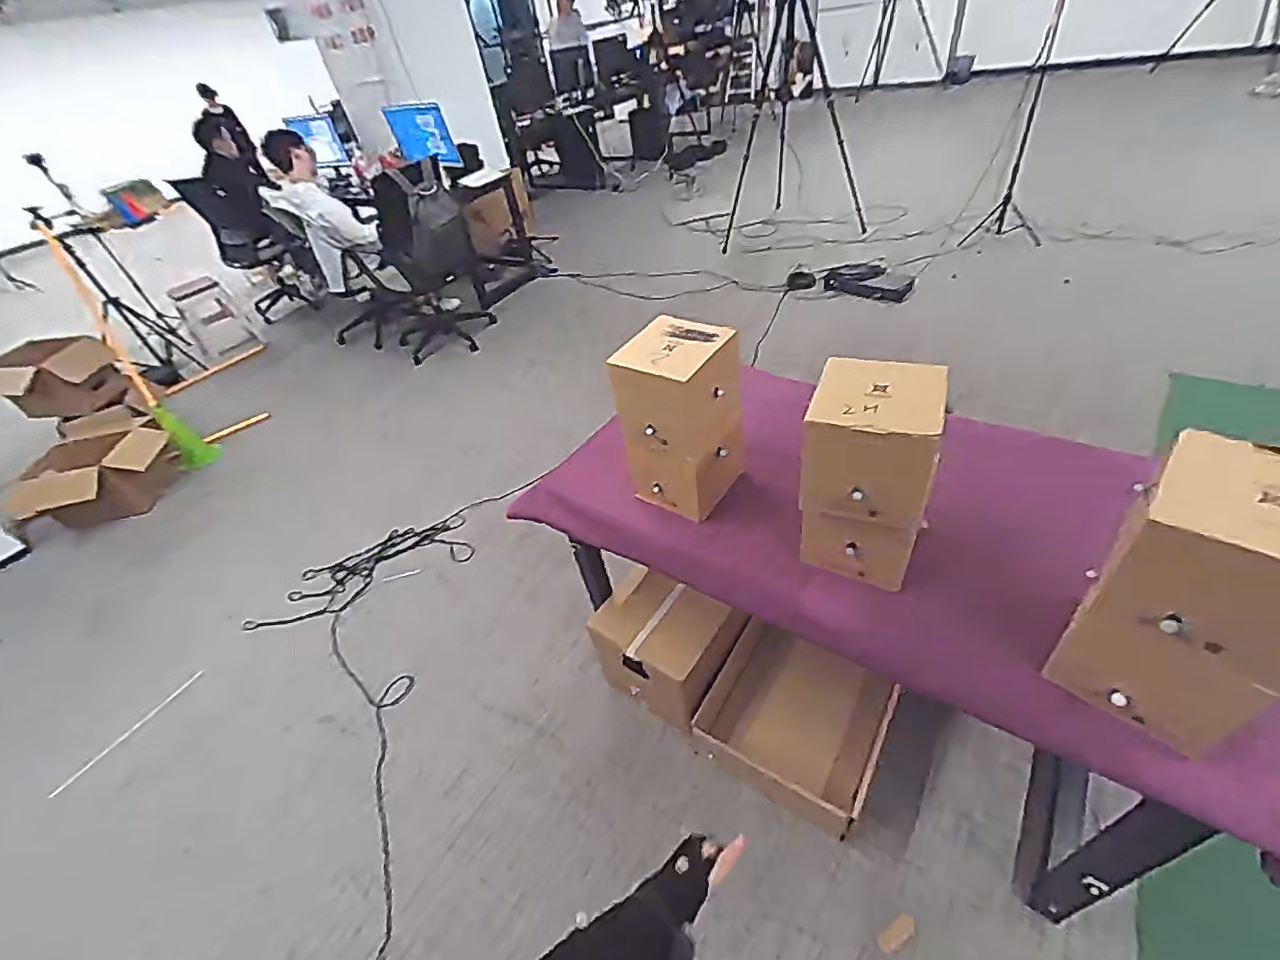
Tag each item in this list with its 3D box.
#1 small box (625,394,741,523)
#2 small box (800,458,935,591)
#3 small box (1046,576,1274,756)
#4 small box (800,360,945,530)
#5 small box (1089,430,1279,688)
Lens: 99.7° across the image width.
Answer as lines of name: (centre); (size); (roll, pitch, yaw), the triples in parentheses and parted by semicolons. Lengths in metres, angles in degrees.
small box: (0.092, -0.045, 1.099); (0.168, 0.176, 0.179); (21, 51, 31)
small box: (0.379, 0.057, 0.916); (0.168, 0.176, 0.179); (17, 47, 28)
small box: (0.656, 0.202, 0.685); (0.179, 0.176, 0.168); (-37, 46, -26)
small box: (0.337, -0.055, 0.799); (0.168, 0.176, 0.179); (11, 45, 25)
small box: (0.627, 0.079, 0.581); (0.168, 0.176, 0.179); (27, 54, 37)
